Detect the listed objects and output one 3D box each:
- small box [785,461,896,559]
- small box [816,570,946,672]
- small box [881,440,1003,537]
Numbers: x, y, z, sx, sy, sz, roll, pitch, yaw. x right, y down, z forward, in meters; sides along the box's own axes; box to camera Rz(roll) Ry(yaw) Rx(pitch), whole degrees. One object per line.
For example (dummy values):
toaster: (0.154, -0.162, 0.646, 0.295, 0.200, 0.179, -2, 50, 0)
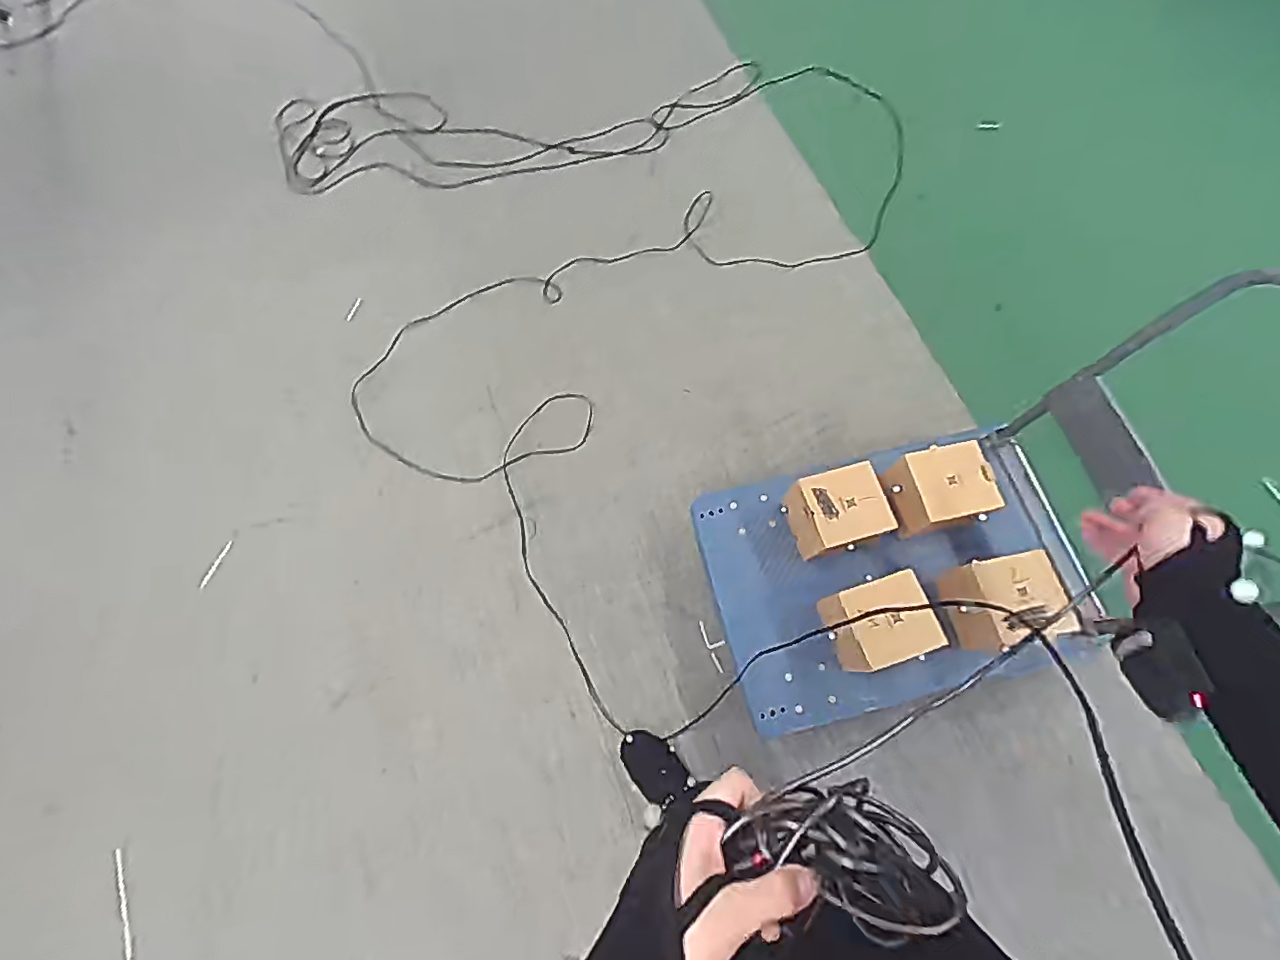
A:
small box: (0.454, 0.077, 1.264, 0.179, 0.176, 0.168, -15, 73, -5)
small box: (0.516, 0.310, 1.185, 0.179, 0.176, 0.168, -17, 72, -5)
small box: (0.697, 0.027, 1.279, 0.179, 0.176, 0.168, -12, 72, -4)
